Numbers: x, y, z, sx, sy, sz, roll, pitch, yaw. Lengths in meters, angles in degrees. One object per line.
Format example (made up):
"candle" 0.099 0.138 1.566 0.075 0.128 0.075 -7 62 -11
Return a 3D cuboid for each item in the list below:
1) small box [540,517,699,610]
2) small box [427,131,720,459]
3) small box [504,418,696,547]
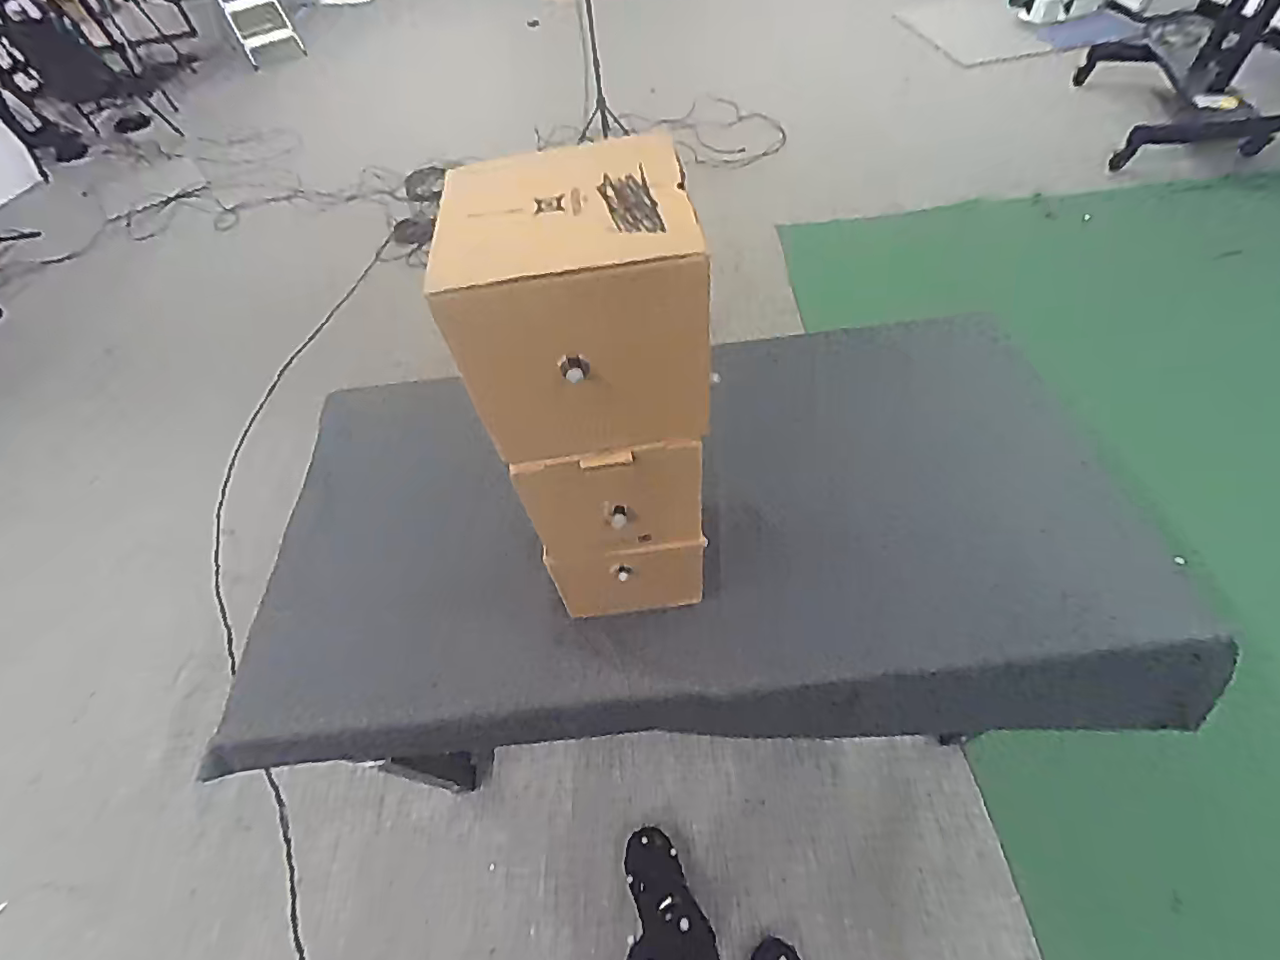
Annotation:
"small box" -0.022 0.055 0.690 0.179 0.176 0.168 -7 55 0
"small box" -0.045 -0.137 0.425 0.179 0.176 0.168 -10 55 -2
"small box" -0.035 -0.043 0.561 0.168 0.176 0.179 -8 55 0
